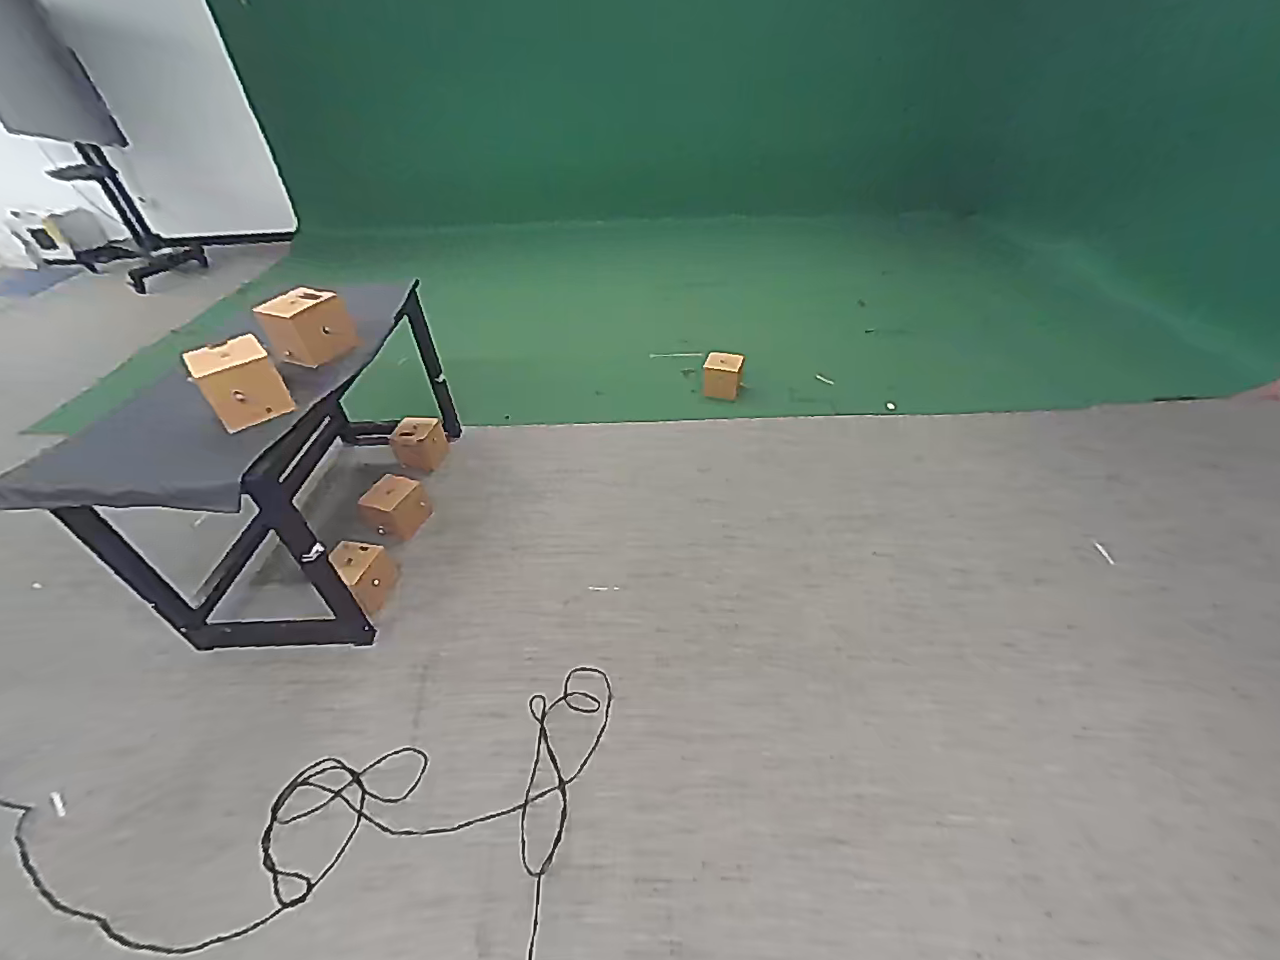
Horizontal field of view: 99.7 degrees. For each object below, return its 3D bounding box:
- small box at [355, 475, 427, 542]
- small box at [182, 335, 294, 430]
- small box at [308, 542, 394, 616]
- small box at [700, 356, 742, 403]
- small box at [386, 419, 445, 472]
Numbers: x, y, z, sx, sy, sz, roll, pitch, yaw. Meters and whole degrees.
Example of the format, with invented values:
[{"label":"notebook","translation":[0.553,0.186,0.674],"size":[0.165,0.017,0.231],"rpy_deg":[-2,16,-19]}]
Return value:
[{"label":"small box","translation":[-0.955,0.112,2.101],"size":[0.168,0.176,0.179],"rpy_deg":[12,44,17]},{"label":"small box","translation":[-1.044,-0.251,1.414],"size":[0.168,0.176,0.179],"rpy_deg":[-32,48,-29]},{"label":"small box","translation":[-0.971,0.340,1.840],"size":[0.168,0.176,0.179],"rpy_deg":[7,43,10]},{"label":"small box","translation":[0.408,-0.509,2.748],"size":[0.179,0.176,0.168],"rpy_deg":[12,43,16]},{"label":"small box","translation":[-0.990,-0.153,2.408],"size":[0.168,0.176,0.179],"rpy_deg":[3,40,5]}]
